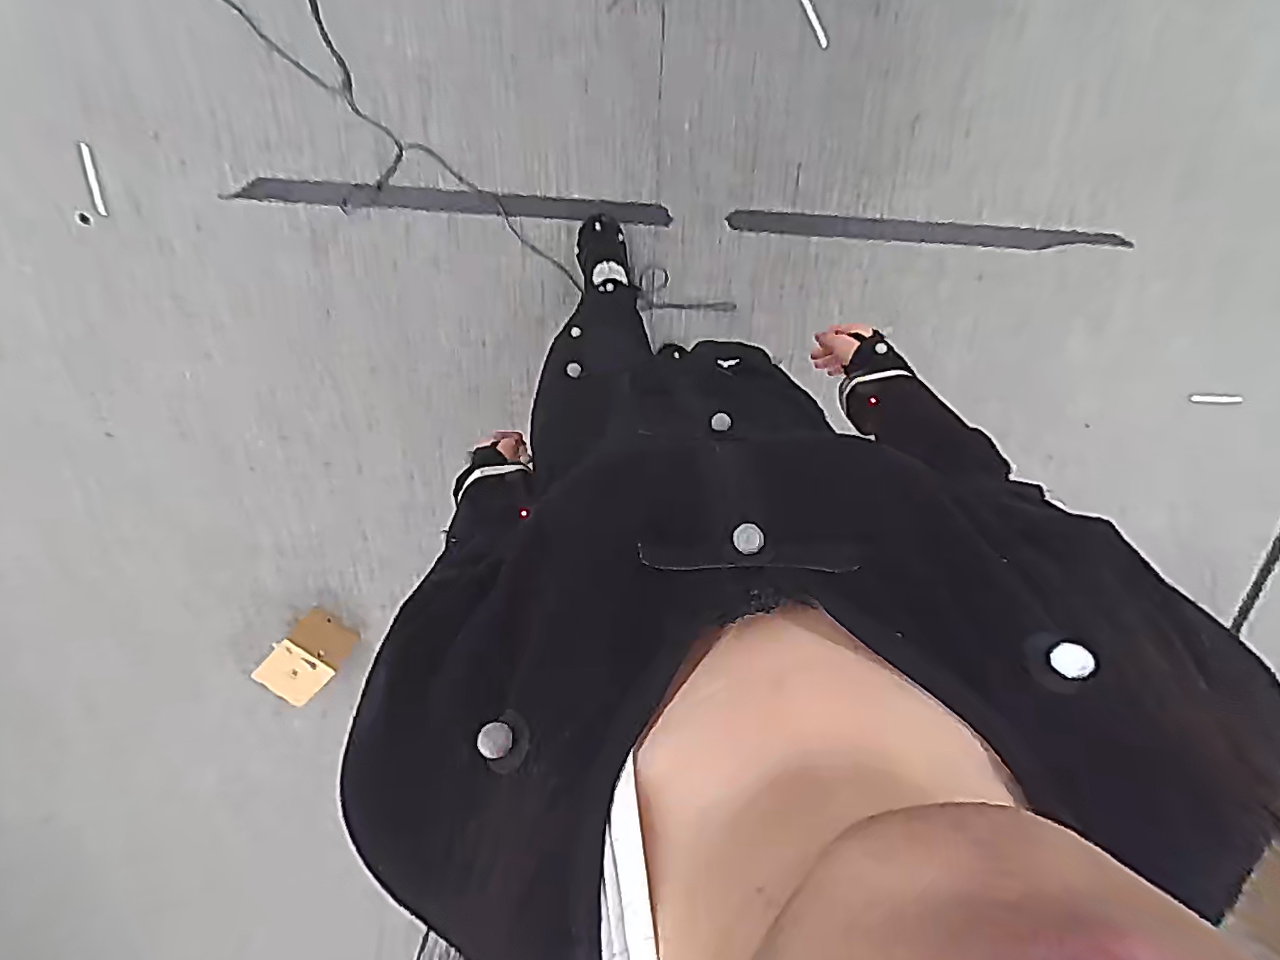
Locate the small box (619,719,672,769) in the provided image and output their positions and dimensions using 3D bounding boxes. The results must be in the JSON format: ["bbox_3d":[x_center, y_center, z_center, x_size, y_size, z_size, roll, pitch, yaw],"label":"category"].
[{"bbox_3d":[0.017,0.925,1.817,0.168,0.176,0.179,-3,112,-2],"label":"small box"}]

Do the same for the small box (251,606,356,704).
[{"bbox_3d":[-0.981,0.511,1.594,0.179,0.176,0.168,-42,107,12],"label":"small box"}]

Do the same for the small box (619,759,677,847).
[{"bbox_3d":[0.021,0.984,1.663,0.168,0.176,0.179,-2,112,-2],"label":"small box"}]
